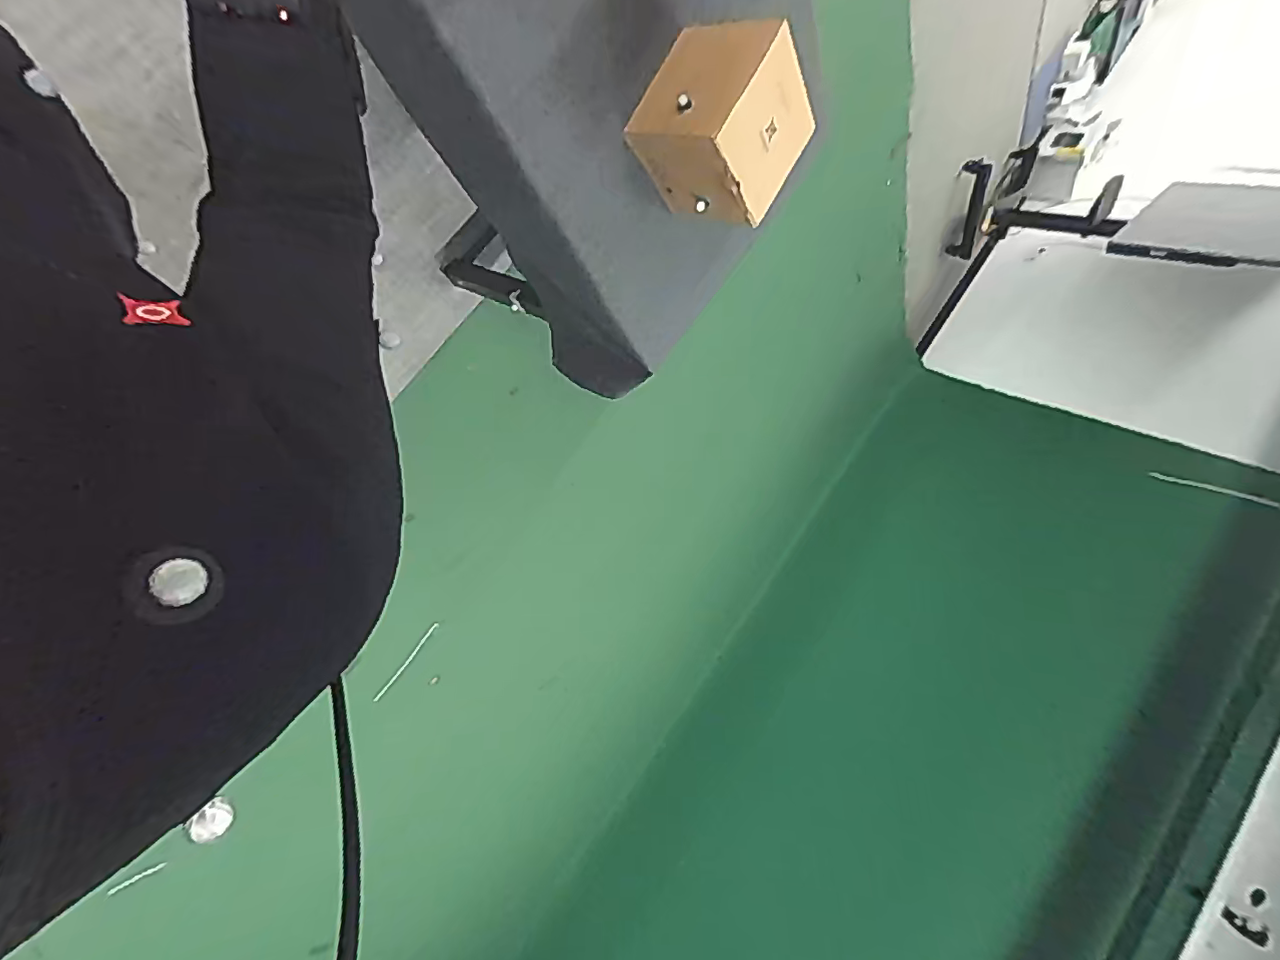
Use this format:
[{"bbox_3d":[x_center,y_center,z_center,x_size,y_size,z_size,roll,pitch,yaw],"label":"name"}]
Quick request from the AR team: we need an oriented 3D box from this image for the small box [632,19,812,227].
[{"bbox_3d":[0.112,-0.497,0.767,0.179,0.176,0.168,-61,146,-1],"label":"small box"}]
